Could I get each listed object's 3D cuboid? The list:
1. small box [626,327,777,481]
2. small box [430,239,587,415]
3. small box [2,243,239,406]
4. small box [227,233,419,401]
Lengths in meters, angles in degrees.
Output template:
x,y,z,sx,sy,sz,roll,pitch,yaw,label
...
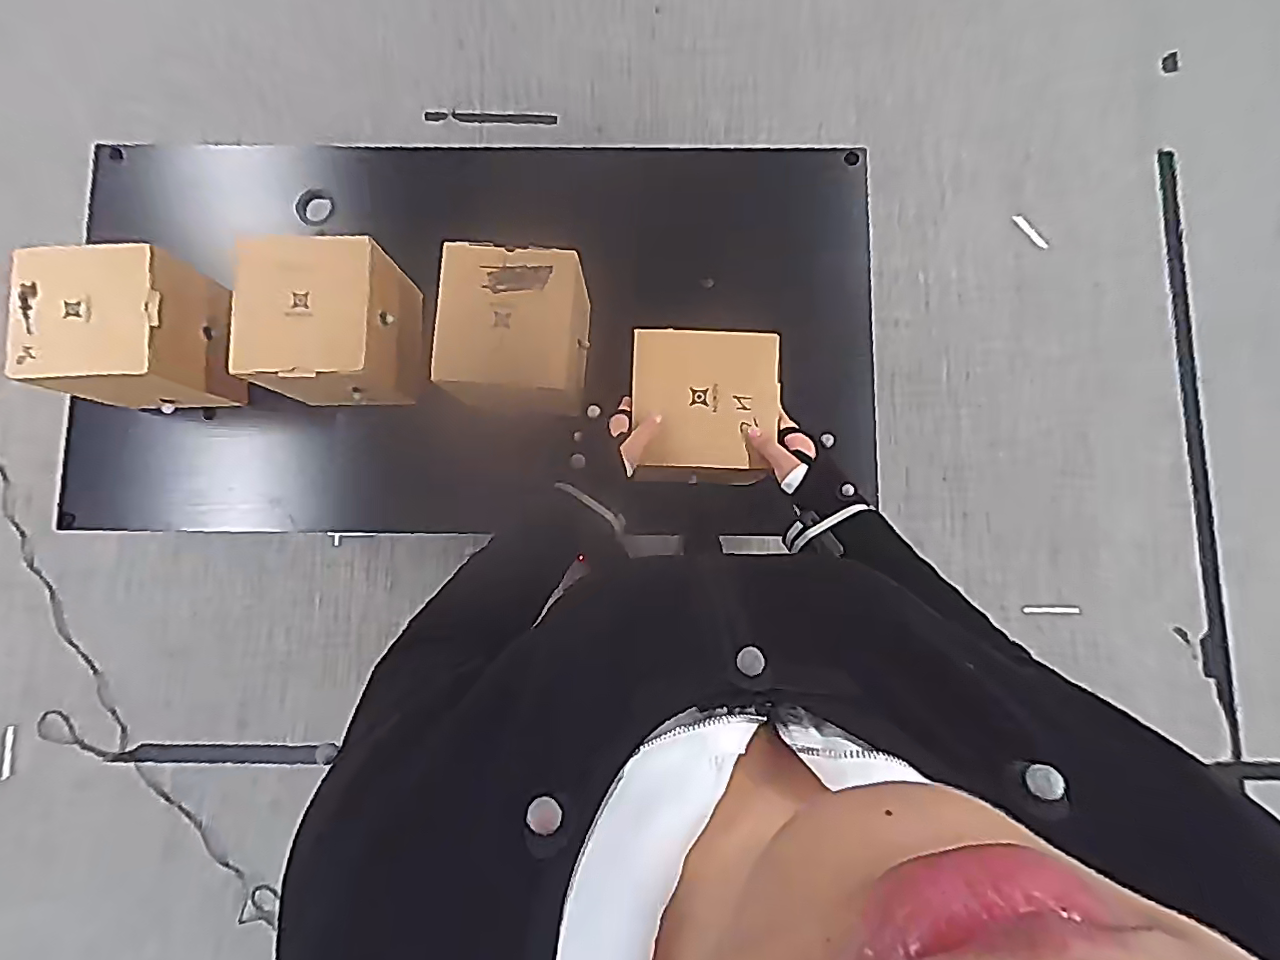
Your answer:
x,y,z,sx,sy,sz,roll,pitch,yaw,label
0.073,-0.090,0.716,0.179,0.176,0.168,2,84,-2,small box
-0.164,-0.195,0.732,0.168,0.176,0.179,4,86,0,small box
-0.675,-0.200,0.730,0.179,0.176,0.168,-2,84,-1,small box
-0.413,-0.208,0.734,0.168,0.176,0.179,-1,84,-1,small box
